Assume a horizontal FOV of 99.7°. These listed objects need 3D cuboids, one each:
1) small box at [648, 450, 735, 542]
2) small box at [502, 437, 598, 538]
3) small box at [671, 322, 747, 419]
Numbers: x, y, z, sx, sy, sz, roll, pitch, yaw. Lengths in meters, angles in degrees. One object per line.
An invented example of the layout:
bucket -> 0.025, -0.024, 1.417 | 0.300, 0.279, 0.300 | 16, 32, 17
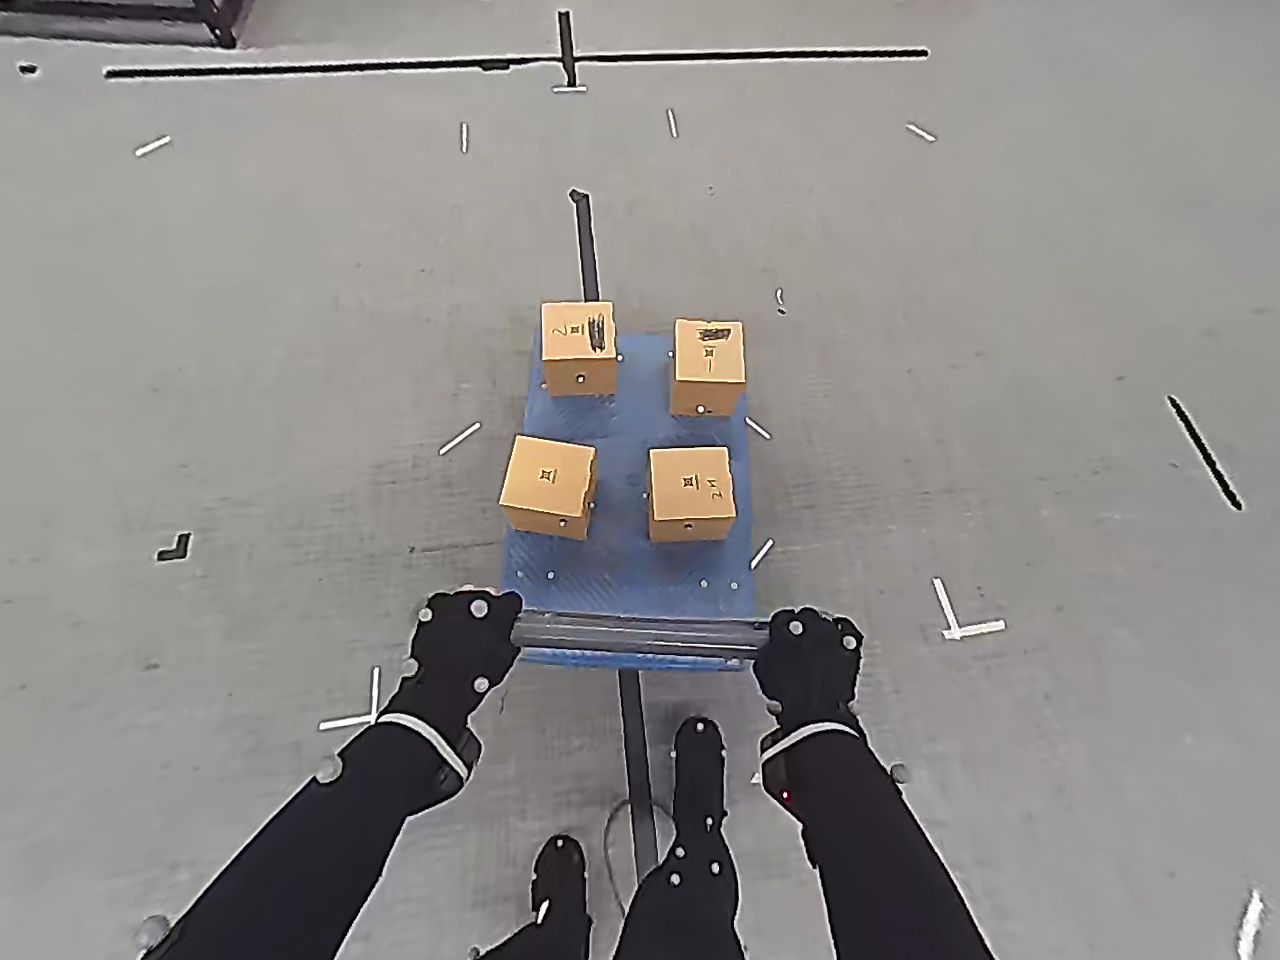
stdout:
small box -> 0.109, 0.042, 1.237 | 0.179, 0.176, 0.168 | -1, 68, -3
small box -> -0.197, 0.024, 1.229 | 0.179, 0.176, 0.168 | 9, 68, 0
small box -> 0.167, -0.273, 1.367 | 0.168, 0.176, 0.179 | 3, 69, -2
